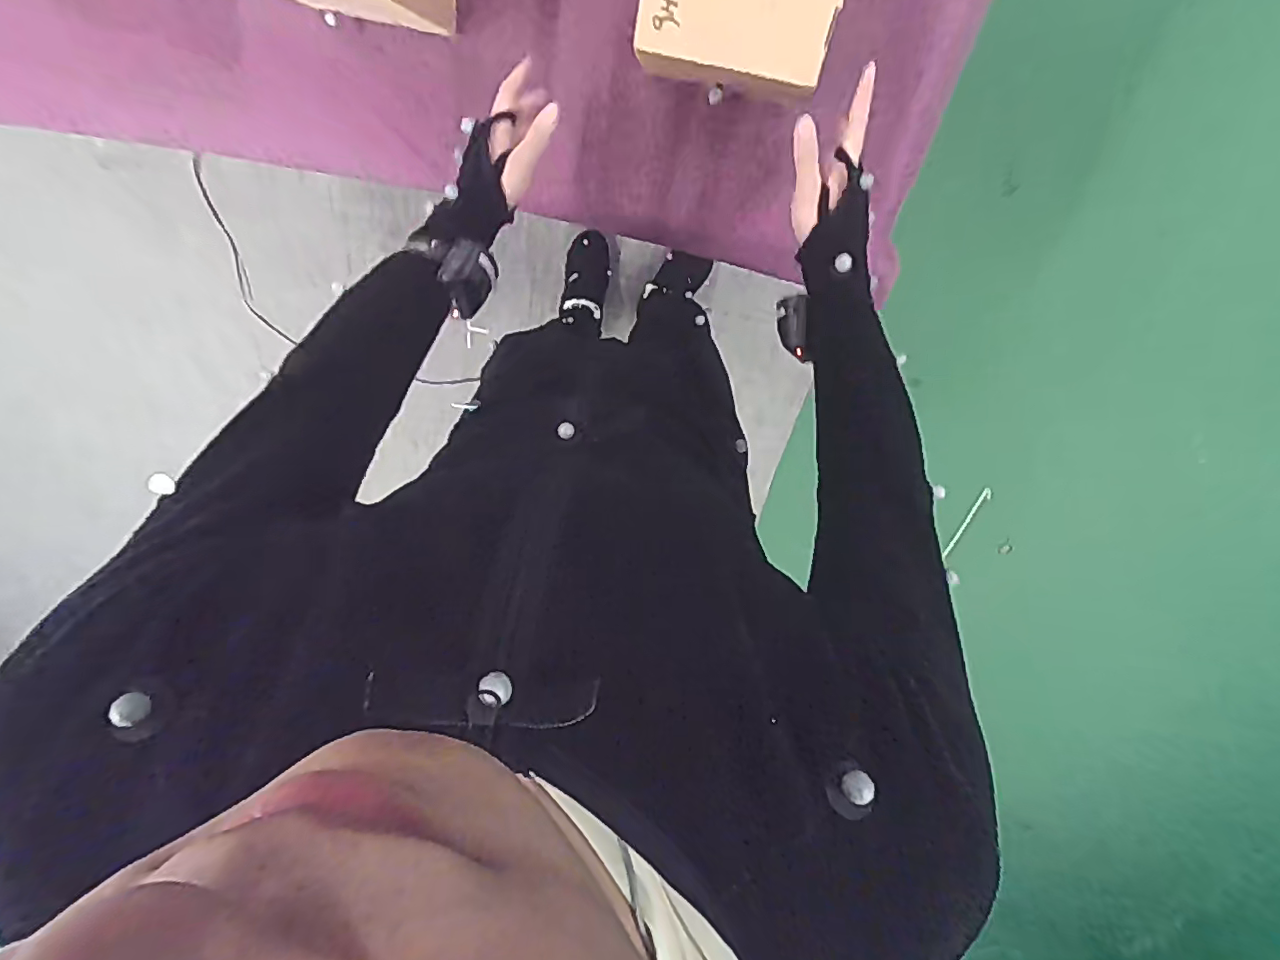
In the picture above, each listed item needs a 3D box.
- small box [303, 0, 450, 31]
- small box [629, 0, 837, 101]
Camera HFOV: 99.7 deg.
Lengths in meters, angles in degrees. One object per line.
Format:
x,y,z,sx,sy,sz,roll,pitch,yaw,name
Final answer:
-0.289,-0.562,0.514,0.168,0.176,0.179,10,120,-2,small box
0.094,-0.488,0.527,0.179,0.176,0.168,11,120,-2,small box
